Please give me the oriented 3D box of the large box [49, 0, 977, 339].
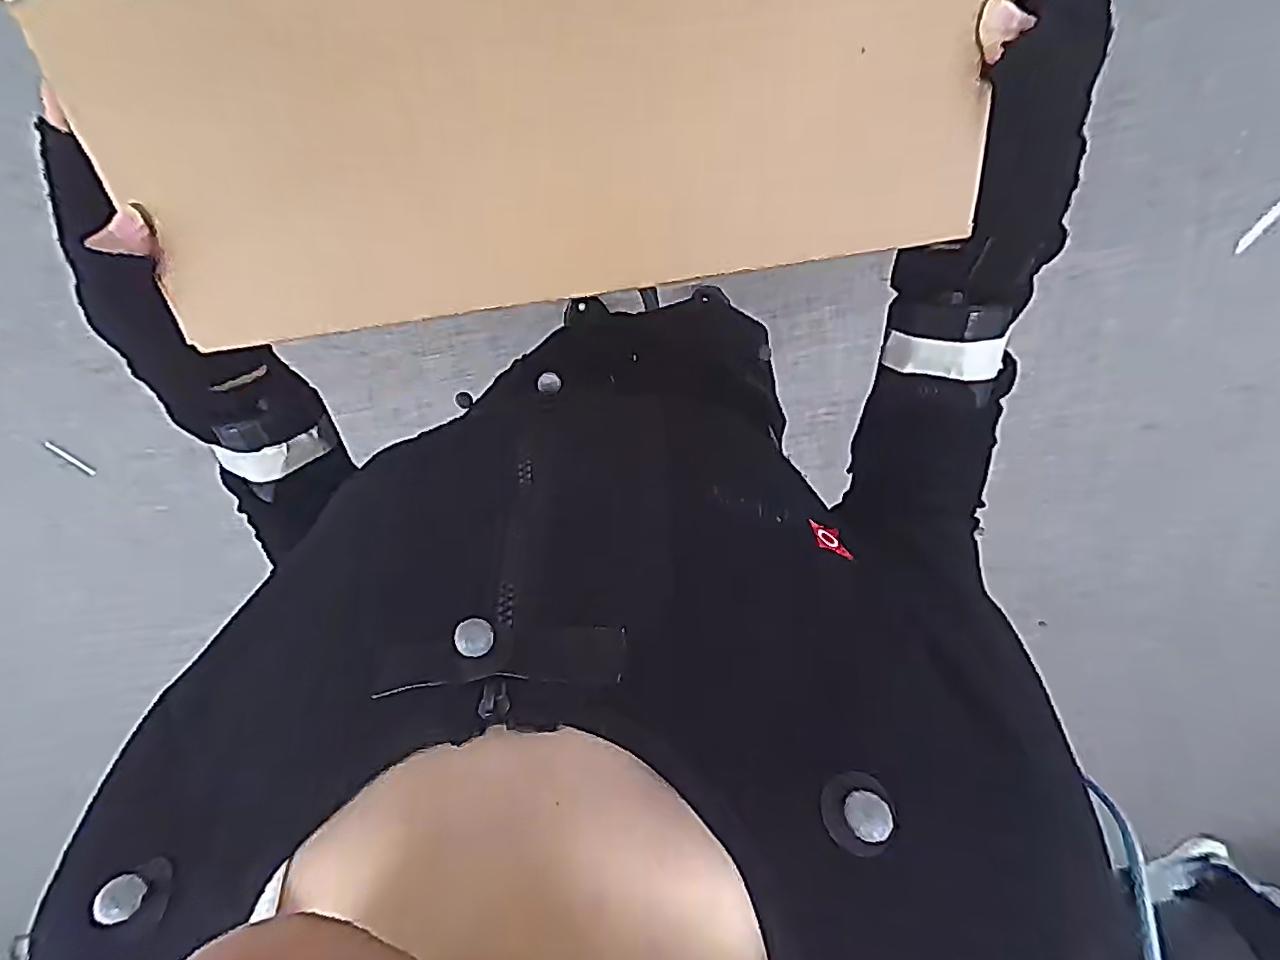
[{"bbox_3d":[-0.061,-0.307,0.349,0.408,0.320,0.320,-7,119,4],"label":"large box"}]
